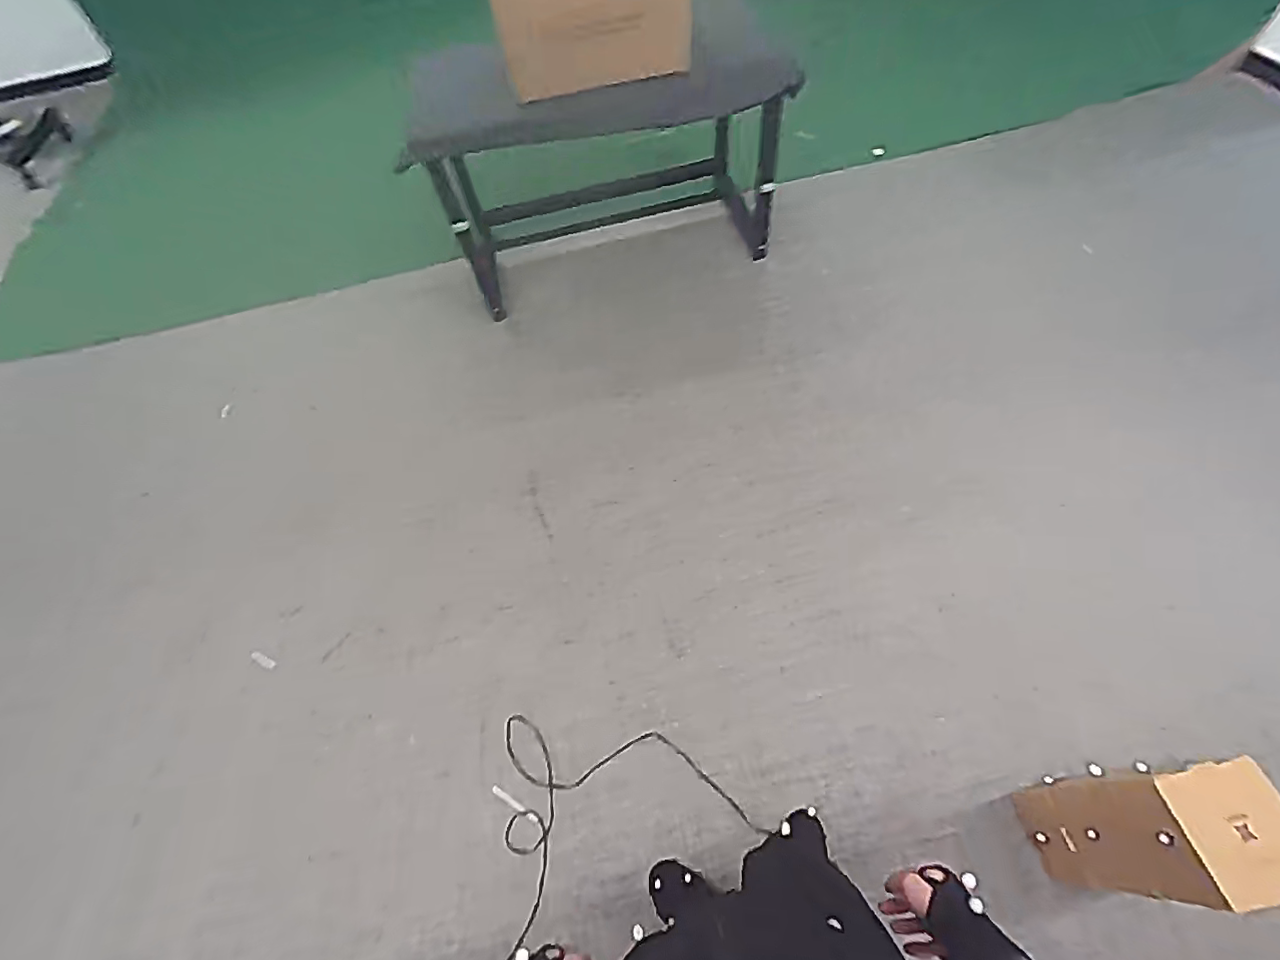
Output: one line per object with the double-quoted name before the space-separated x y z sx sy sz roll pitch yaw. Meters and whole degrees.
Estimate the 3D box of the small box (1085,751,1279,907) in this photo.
"small box" 0.902 0.565 0.892 0.168 0.176 0.179 -14 60 -2

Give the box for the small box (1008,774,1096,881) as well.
"small box" 0.938 0.739 1.166 0.179 0.176 0.168 -13 60 -2

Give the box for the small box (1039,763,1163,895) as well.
"small box" 0.922 0.651 1.028 0.168 0.176 0.179 -14 59 -3
